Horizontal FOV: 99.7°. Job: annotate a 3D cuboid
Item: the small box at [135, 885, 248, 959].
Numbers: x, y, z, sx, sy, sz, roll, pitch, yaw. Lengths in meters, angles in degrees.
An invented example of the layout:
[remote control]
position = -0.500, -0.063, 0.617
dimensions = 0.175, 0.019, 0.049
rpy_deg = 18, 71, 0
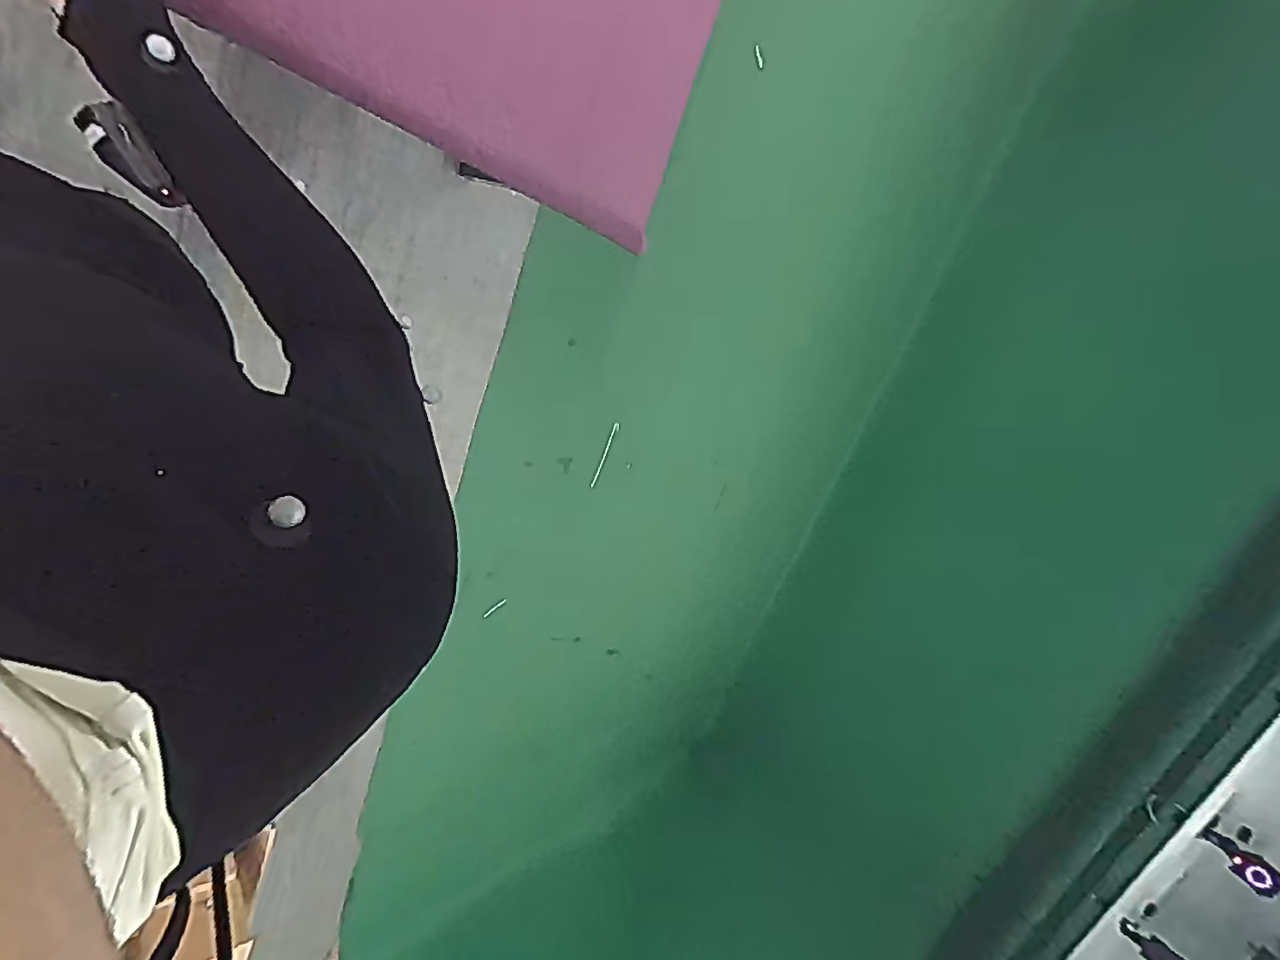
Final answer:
[small box]
position = -1.029, 1.090, 1.236
dimensions = 0.168, 0.176, 0.179
rpy_deg = 8, 110, -50
